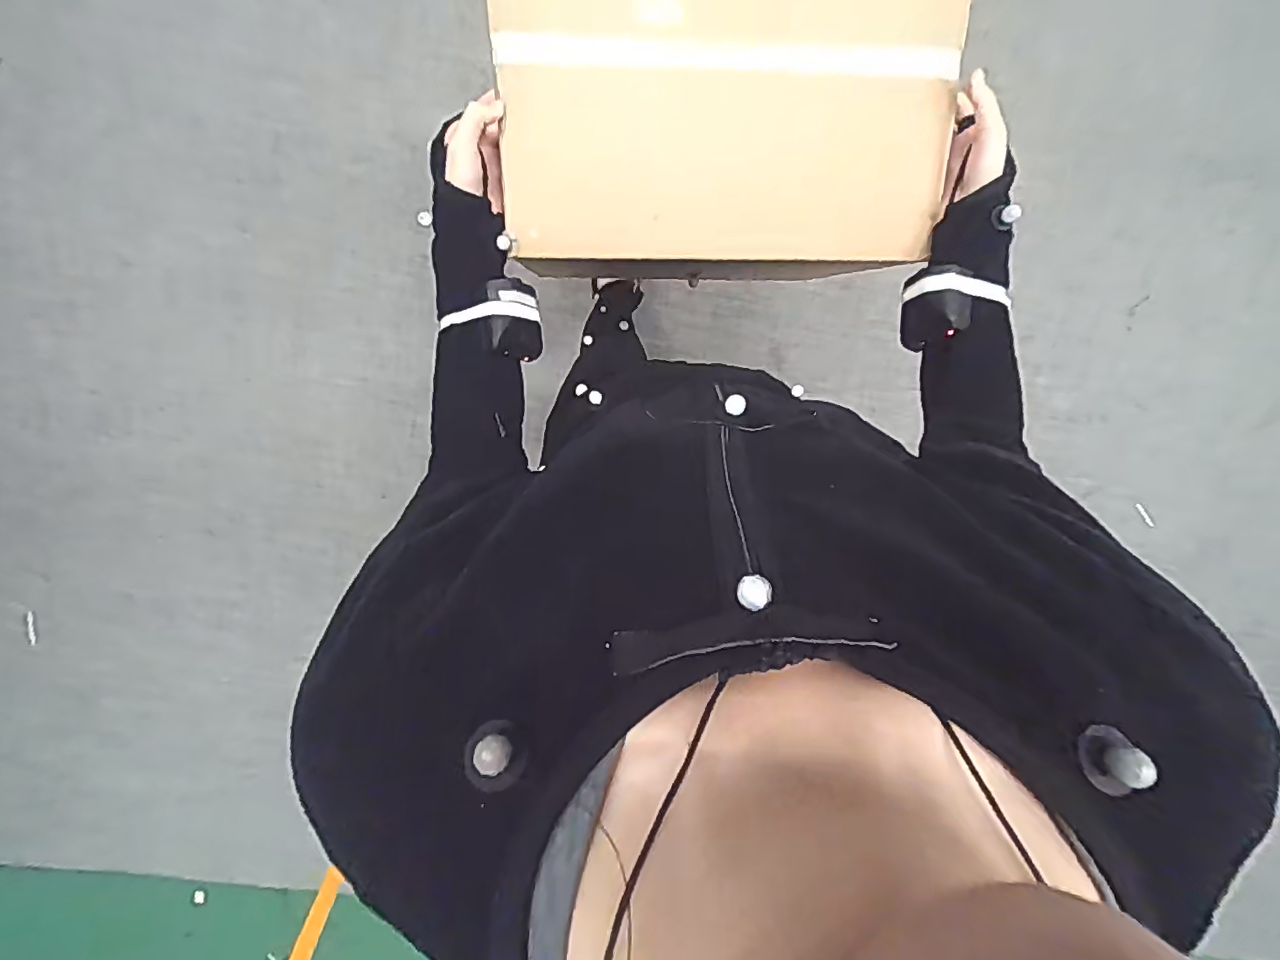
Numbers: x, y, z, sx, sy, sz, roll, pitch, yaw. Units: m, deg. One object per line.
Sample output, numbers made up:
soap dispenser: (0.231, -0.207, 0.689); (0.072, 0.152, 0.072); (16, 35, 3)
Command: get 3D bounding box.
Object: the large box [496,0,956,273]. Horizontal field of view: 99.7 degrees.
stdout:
large box: (0.068, -0.408, 0.615); (0.408, 0.320, 0.320); (-1, 107, -4)
